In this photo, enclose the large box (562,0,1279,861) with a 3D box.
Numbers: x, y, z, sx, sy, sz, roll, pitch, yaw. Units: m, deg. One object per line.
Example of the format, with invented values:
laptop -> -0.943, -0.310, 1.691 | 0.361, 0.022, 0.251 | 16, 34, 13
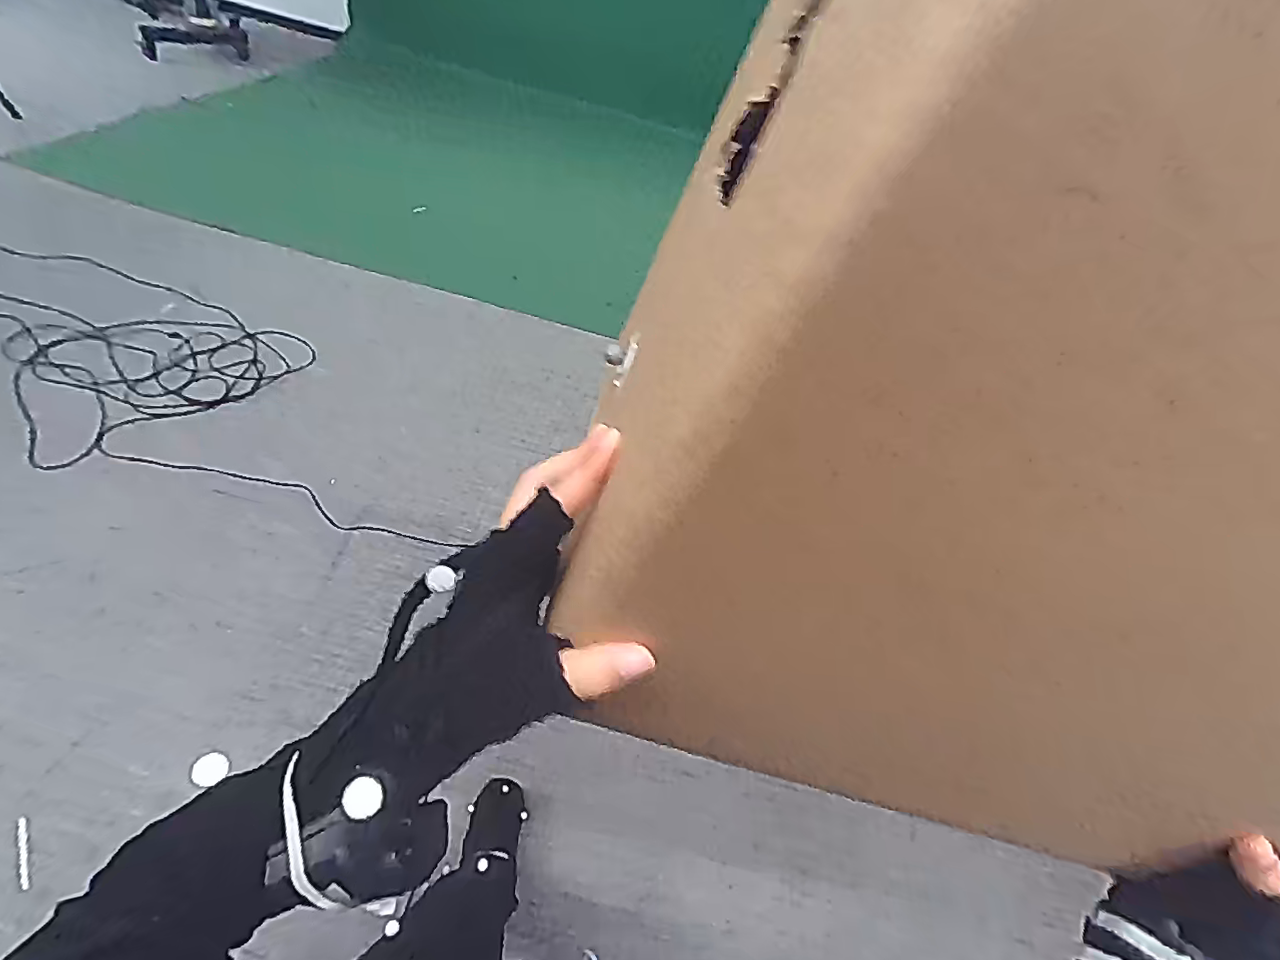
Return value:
large box -> 0.209, -0.020, 0.319 | 0.408, 0.320, 0.320 | 22, 42, -13
